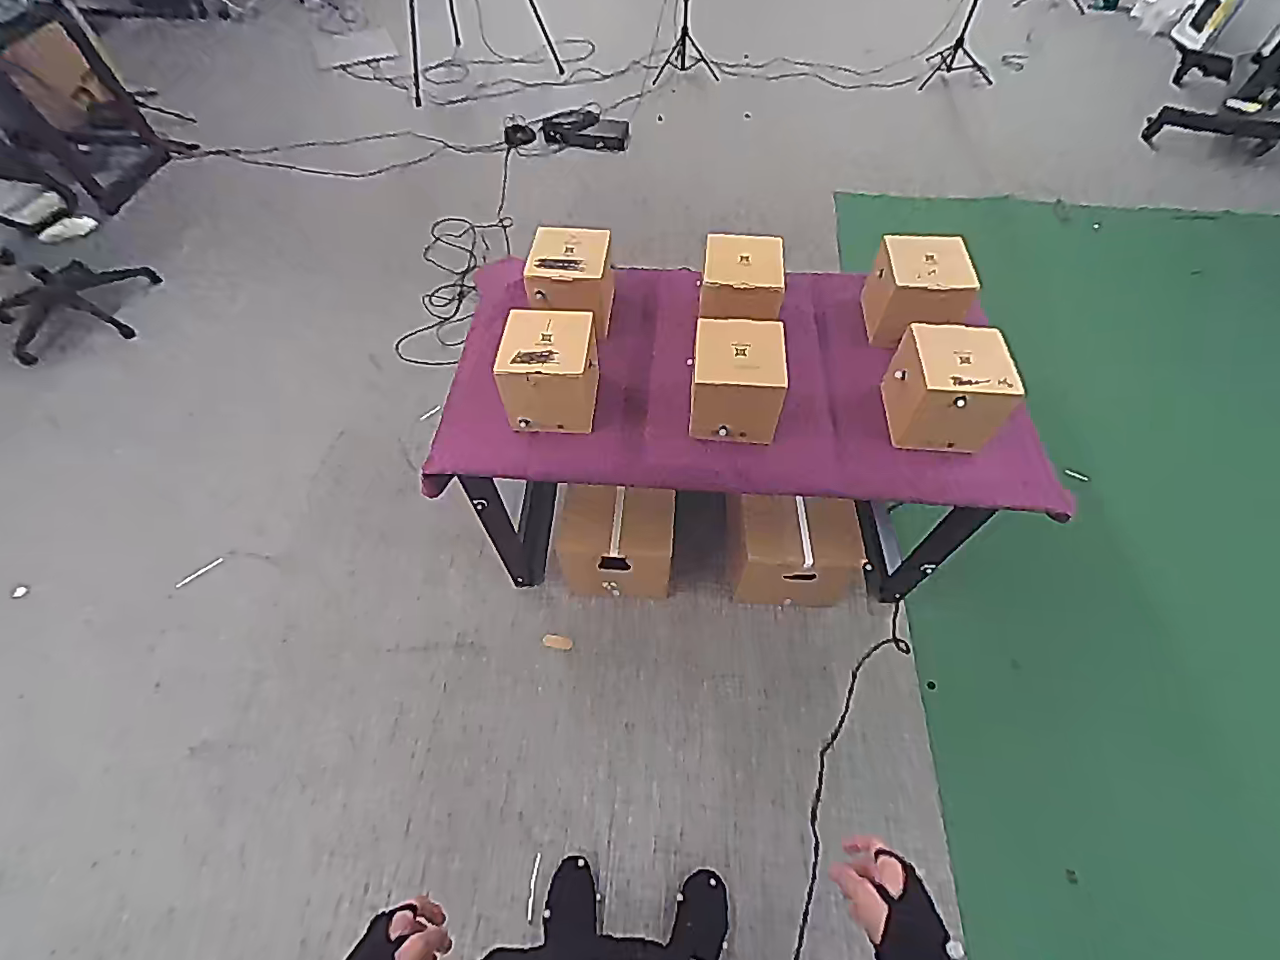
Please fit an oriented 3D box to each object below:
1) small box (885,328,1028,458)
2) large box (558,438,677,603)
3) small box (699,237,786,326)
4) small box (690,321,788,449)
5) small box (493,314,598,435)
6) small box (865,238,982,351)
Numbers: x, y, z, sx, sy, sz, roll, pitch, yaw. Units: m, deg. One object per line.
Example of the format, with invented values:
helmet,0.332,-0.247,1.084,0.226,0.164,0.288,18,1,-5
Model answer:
small box,0.586,-0.165,1.031,0.168,0.176,0.179,4,54,5
large box,-0.051,0.128,1.645,0.320,0.320,0.408,3,55,2
small box,0.222,-0.410,1.204,0.168,0.176,0.179,5,58,4
small box,0.186,-0.183,1.052,0.168,0.176,0.179,4,56,5
small box,-0.176,-0.205,1.070,0.168,0.176,0.179,3,55,2
small box,0.608,-0.404,1.188,0.168,0.176,0.179,3,57,5
